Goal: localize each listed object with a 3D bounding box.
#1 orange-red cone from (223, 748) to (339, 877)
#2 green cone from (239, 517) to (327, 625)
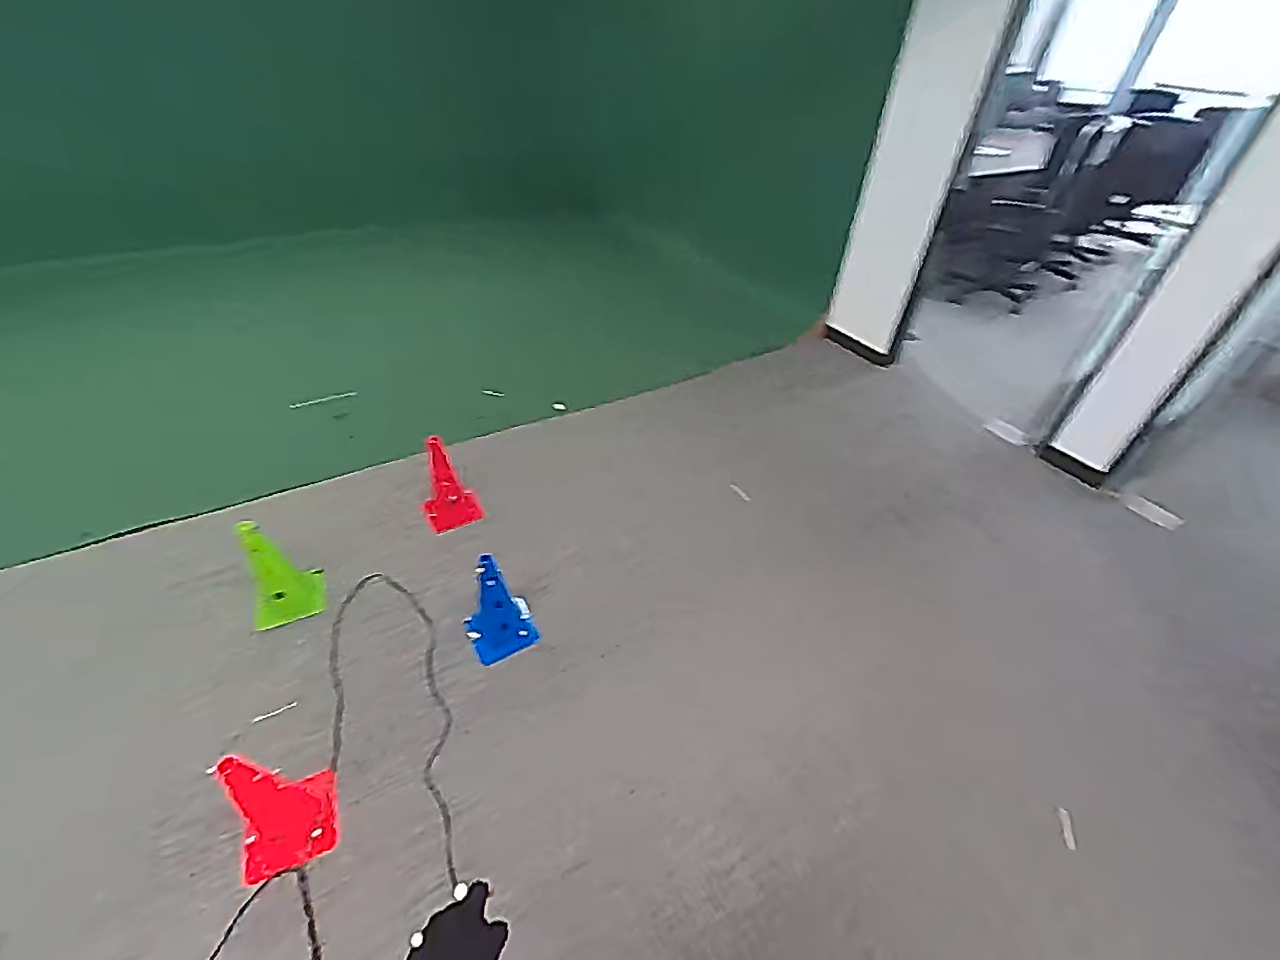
[{"bbox_3d":[-0.838,0.697,1.212,0.198,0.360,0.199,-15,43,-20],"label":"orange-red cone"},{"bbox_3d":[-1.161,0.253,1.697,0.200,0.368,0.202,-18,46,-21],"label":"green cone"}]
